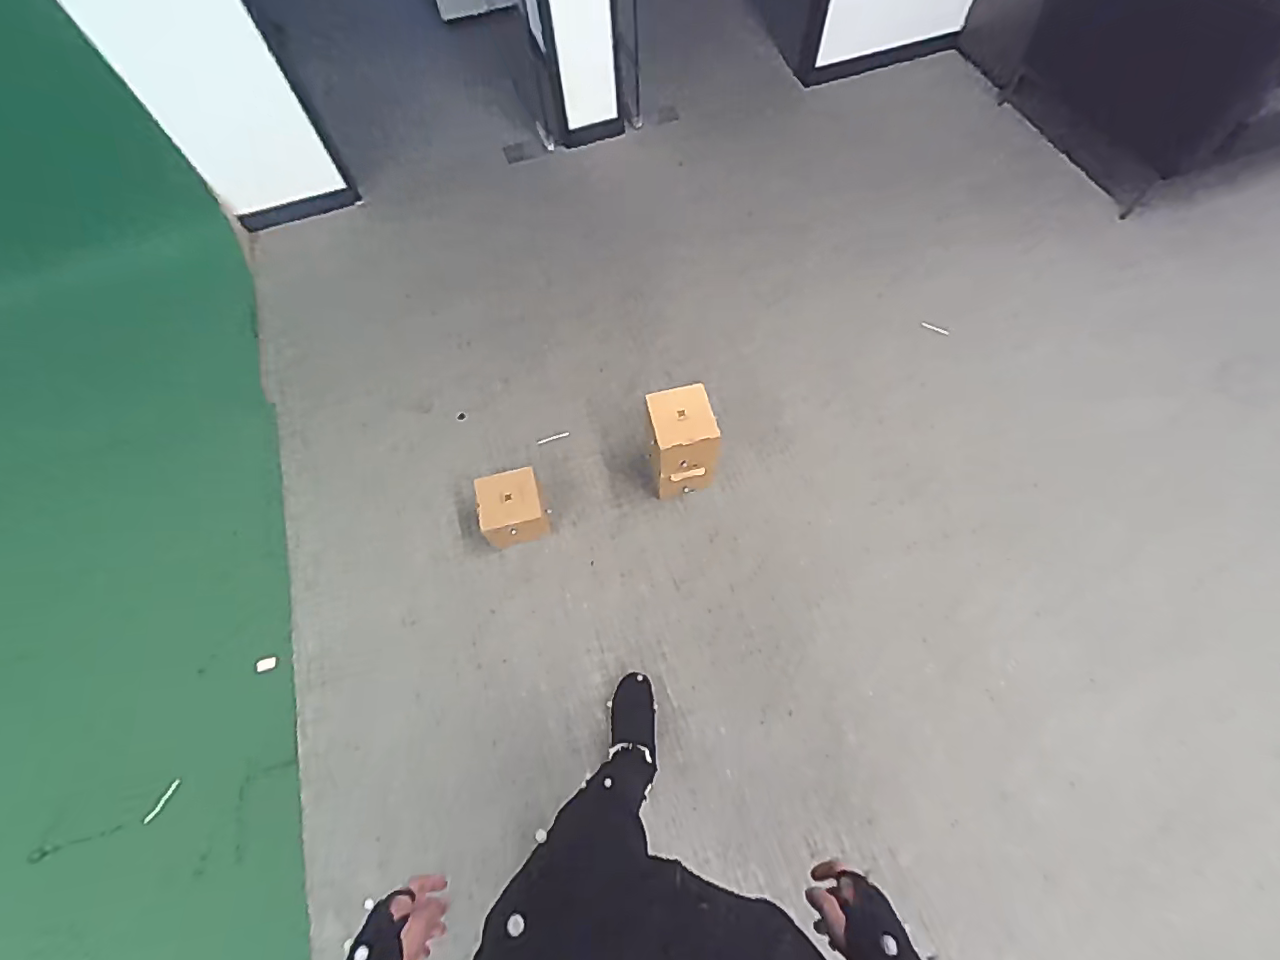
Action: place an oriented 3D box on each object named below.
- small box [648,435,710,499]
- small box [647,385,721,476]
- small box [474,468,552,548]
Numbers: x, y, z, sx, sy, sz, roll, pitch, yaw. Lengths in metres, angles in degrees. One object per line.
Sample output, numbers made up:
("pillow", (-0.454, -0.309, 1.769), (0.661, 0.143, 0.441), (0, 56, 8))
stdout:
("small box", (0.114, -0.060, 1.647), (0.168, 0.176, 0.179), (-9, 66, 0))
("small box", (0.115, -0.134, 1.504), (0.168, 0.176, 0.179), (-12, 66, -5))
("small box", (-0.372, 0.088, 1.598), (0.179, 0.176, 0.168), (-13, 65, -5))
